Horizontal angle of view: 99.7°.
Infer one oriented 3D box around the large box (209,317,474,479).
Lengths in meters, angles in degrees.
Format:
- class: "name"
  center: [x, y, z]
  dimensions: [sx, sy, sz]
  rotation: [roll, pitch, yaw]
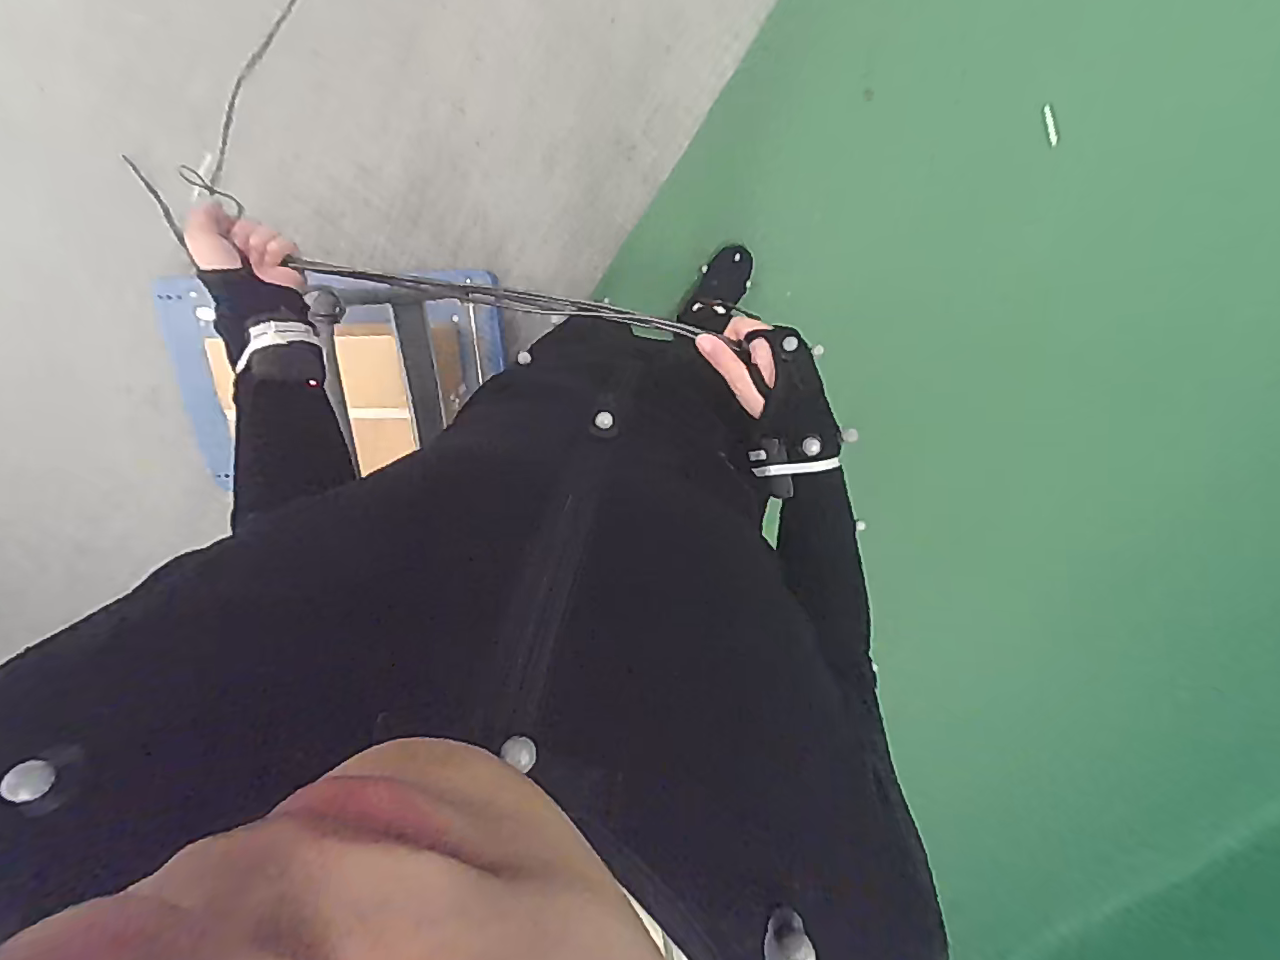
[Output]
- class: "large box"
  center: [-0.650, -0.200, 1.255]
  dimensions: [0.408, 0.320, 0.320]
  rotation: [0, 110, 4]
